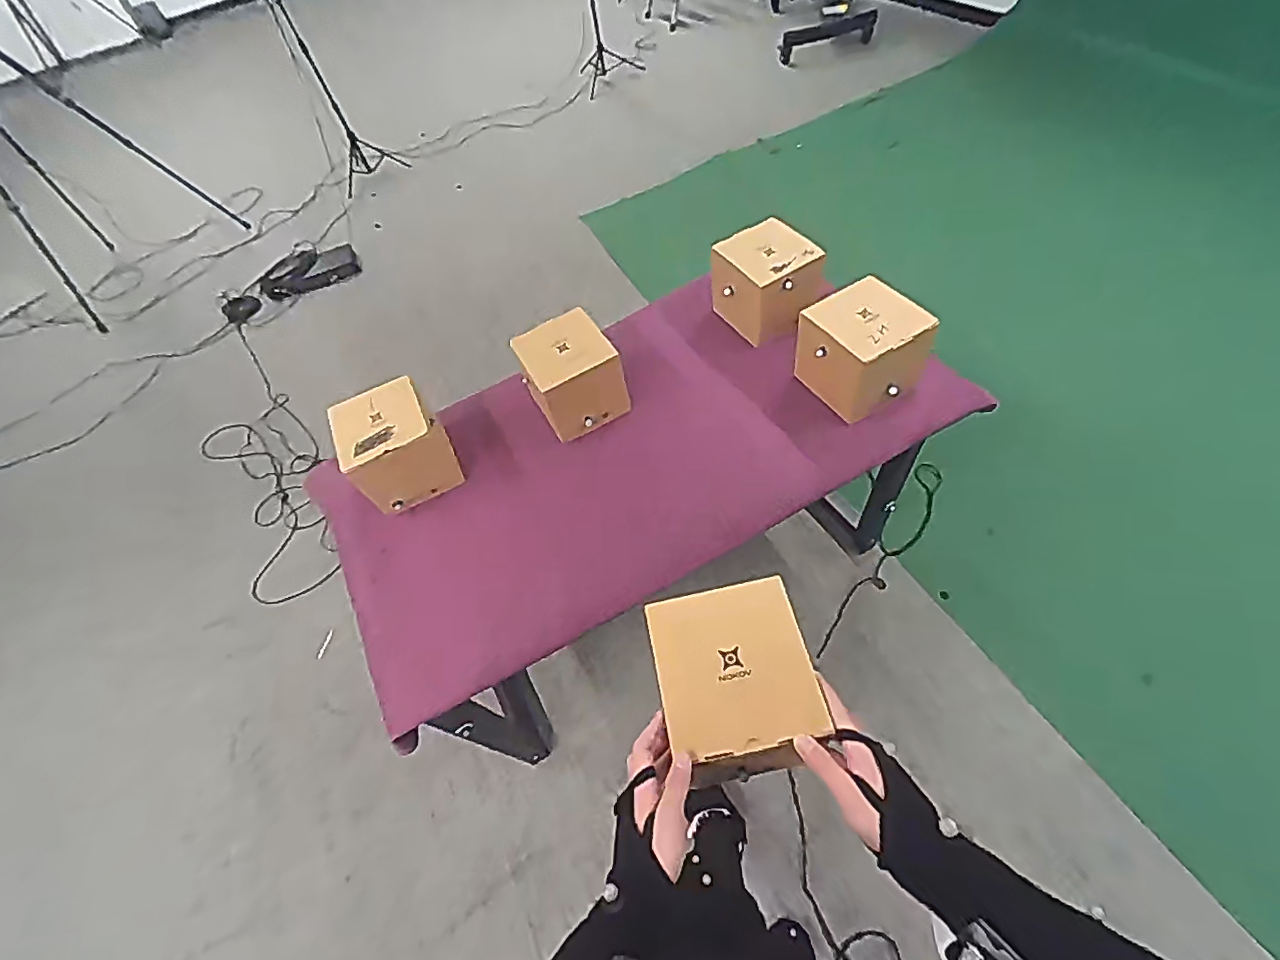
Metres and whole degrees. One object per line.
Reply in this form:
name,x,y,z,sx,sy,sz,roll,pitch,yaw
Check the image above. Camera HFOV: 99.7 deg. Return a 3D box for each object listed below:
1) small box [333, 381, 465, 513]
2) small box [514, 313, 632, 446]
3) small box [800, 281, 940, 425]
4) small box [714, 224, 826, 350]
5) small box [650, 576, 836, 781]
small box,-0.468,-0.056,1.069,0.168,0.176,0.179,-26,57,-9
small box,-0.134,-0.203,1.116,0.168,0.176,0.179,-29,57,-9
small box,0.424,-0.240,1.035,0.168,0.176,0.179,-29,55,-8
small box,0.279,-0.420,1.188,0.168,0.176,0.179,-30,56,-9
small box,0.113,0.242,0.650,0.168,0.176,0.179,-13,55,1
